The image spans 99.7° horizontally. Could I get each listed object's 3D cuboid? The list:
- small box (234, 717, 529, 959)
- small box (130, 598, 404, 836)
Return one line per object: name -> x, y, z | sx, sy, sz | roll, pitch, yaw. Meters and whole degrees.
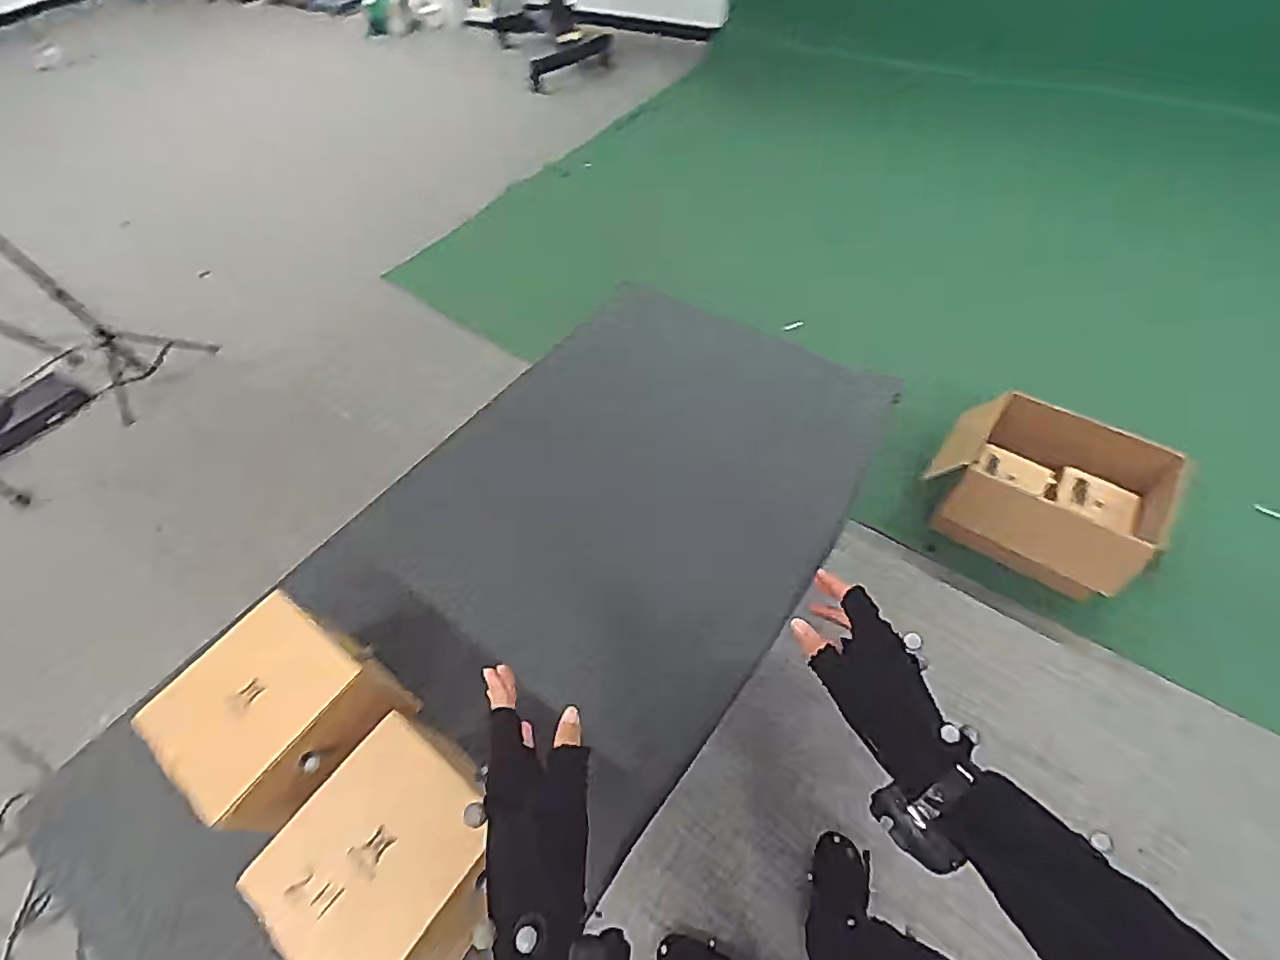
small box -> -0.230, 0.375, 0.534 | 0.168, 0.176, 0.179 | 28, 62, 25
small box -> -0.406, 0.275, 0.628 | 0.168, 0.176, 0.179 | 28, 63, 23
